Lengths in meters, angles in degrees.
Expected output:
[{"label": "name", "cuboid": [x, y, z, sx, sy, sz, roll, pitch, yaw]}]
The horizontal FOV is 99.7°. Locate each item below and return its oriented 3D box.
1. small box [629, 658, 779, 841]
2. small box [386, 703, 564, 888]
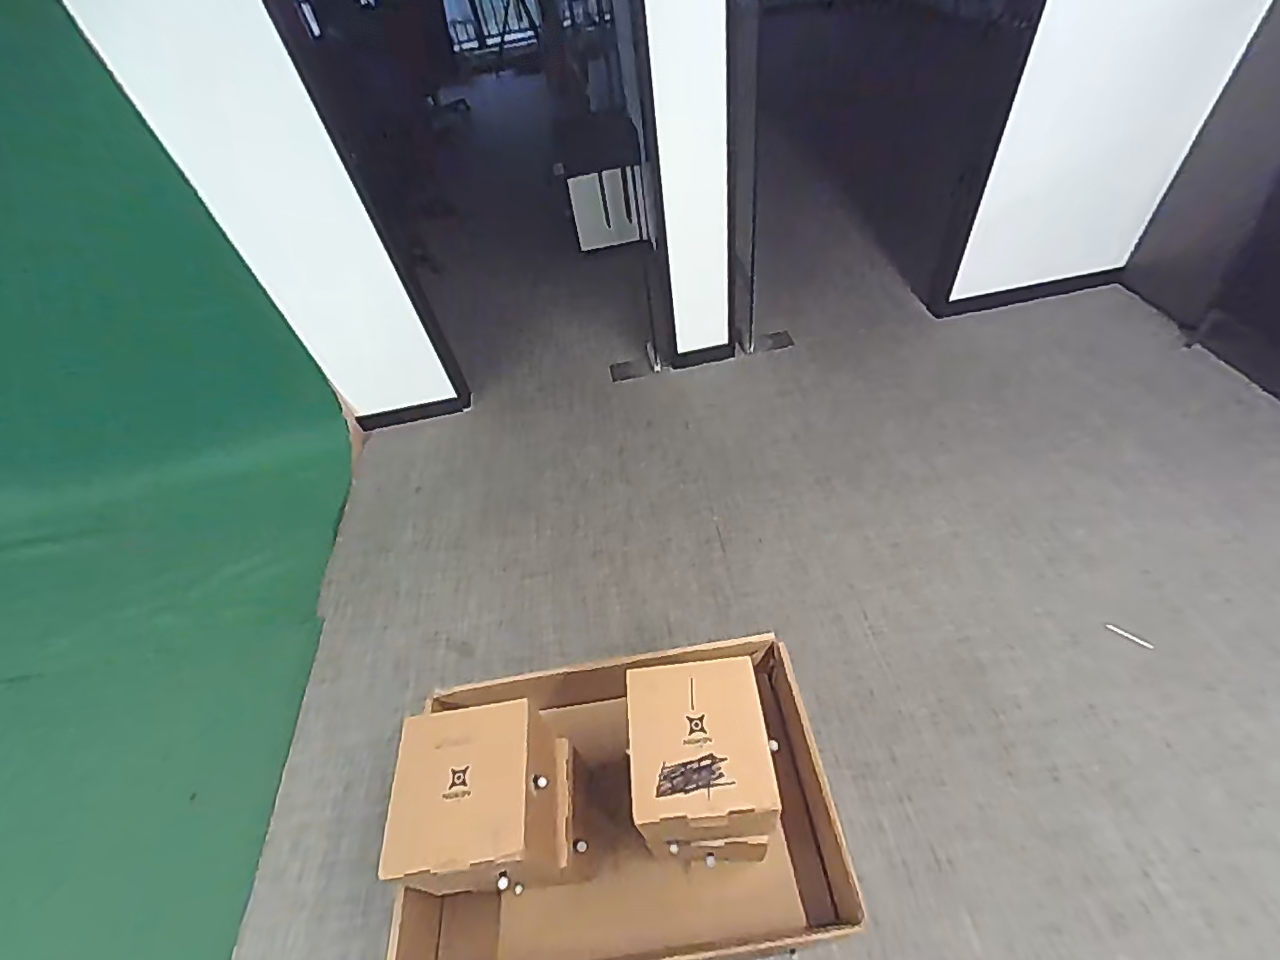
[{"label": "small box", "cuboid": [0.082, 0.358, 0.708, 0.168, 0.176, 0.179, -8, 47, 4]}, {"label": "small box", "cuboid": [-0.199, 0.419, 0.711, 0.168, 0.176, 0.179, -10, 47, 2]}]
